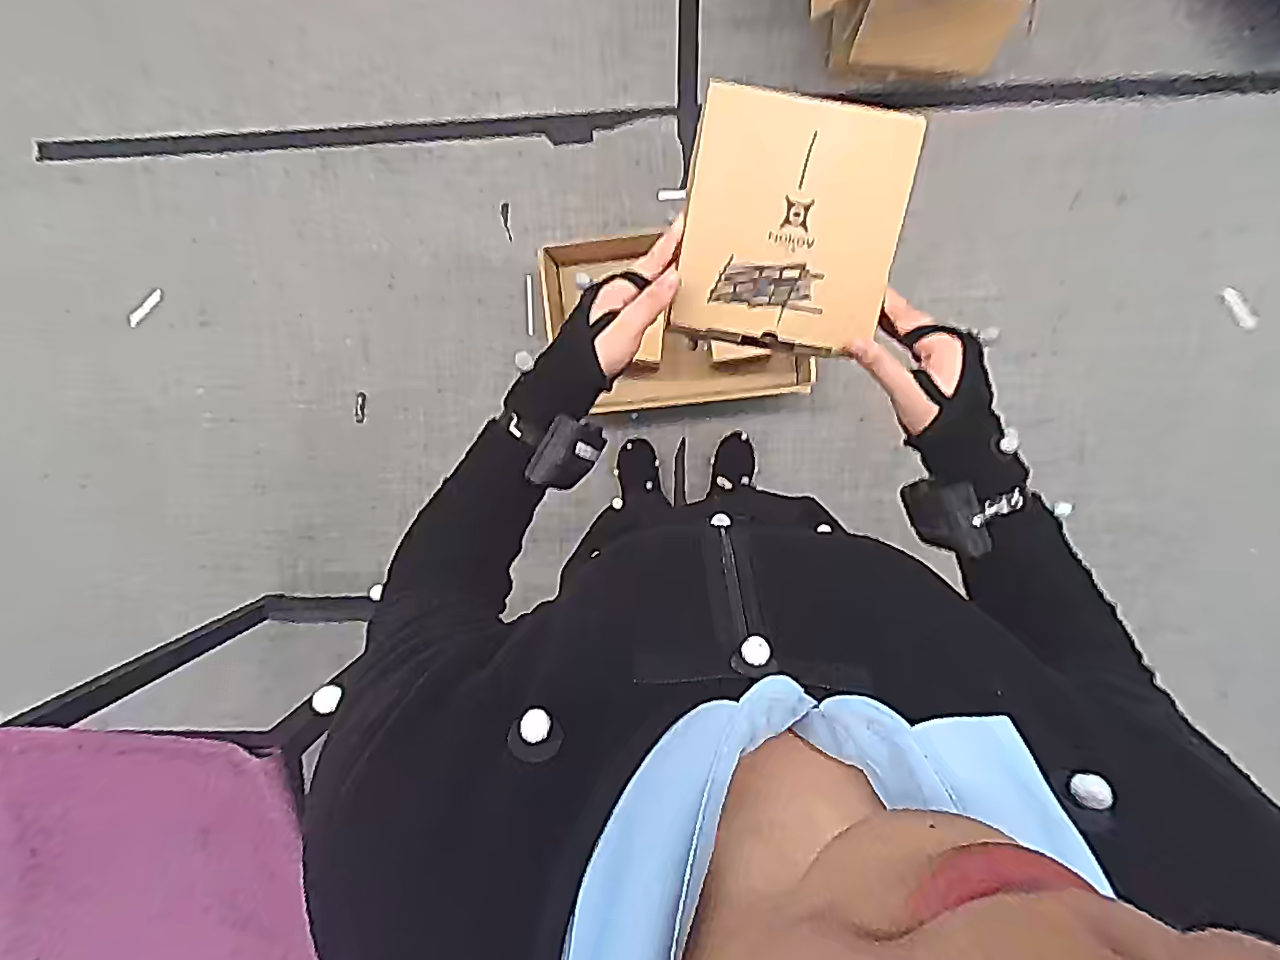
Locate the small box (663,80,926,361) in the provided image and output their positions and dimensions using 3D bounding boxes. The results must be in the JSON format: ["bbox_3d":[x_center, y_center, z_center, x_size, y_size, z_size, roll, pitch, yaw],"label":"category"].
[{"bbox_3d":[0.115,-0.209,0.485,0.168,0.176,0.179,9,103,-1],"label":"small box"}]

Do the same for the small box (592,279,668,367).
[{"bbox_3d":[-0.022,-0.376,1.319,0.168,0.176,0.179,5,98,1],"label":"small box"}]
